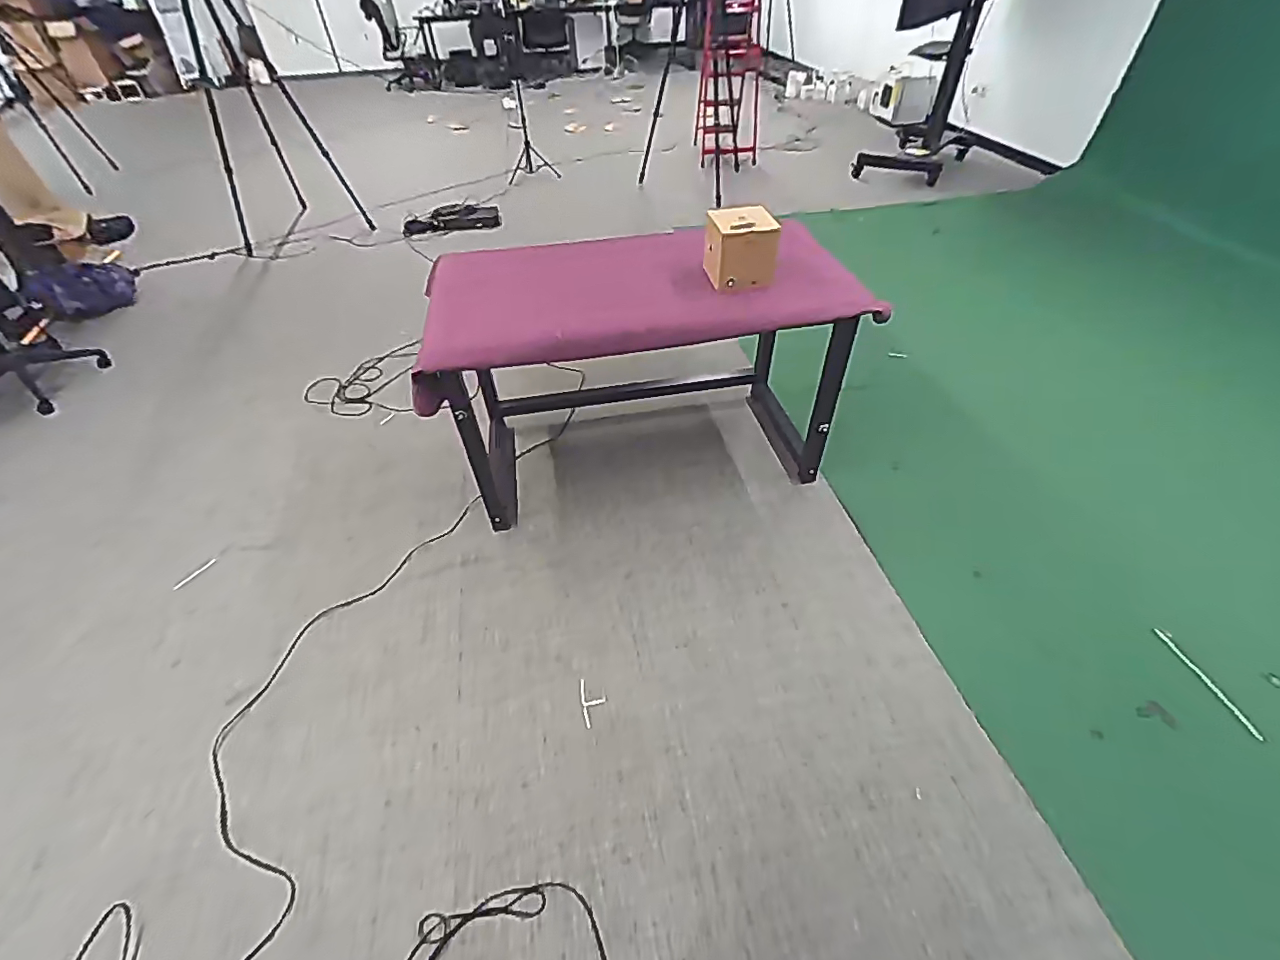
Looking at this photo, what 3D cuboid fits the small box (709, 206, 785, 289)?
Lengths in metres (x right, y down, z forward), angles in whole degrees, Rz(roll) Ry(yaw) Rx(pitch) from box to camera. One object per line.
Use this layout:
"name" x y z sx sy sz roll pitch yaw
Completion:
"small box" 0.297 -0.656 1.535 0.168 0.176 0.179 -5 46 -4
